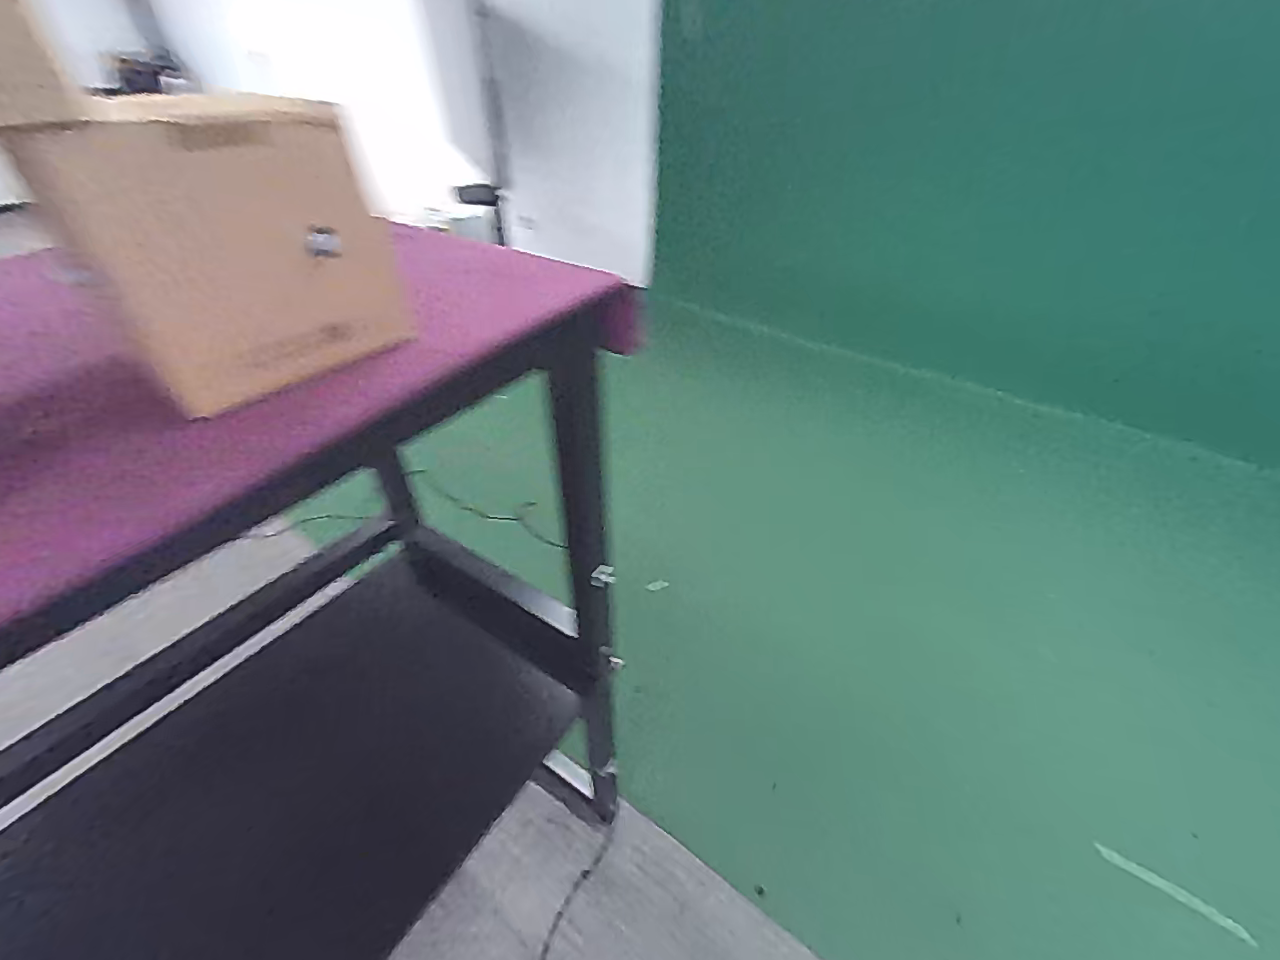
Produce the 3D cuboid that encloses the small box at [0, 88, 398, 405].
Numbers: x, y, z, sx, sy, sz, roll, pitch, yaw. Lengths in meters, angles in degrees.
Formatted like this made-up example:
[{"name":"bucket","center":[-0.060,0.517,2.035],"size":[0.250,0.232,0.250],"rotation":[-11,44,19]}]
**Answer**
[{"name":"small box","center":[-0.310,-0.174,0.395],"size":[0.179,0.176,0.168],"rotation":[26,46,30]}]
